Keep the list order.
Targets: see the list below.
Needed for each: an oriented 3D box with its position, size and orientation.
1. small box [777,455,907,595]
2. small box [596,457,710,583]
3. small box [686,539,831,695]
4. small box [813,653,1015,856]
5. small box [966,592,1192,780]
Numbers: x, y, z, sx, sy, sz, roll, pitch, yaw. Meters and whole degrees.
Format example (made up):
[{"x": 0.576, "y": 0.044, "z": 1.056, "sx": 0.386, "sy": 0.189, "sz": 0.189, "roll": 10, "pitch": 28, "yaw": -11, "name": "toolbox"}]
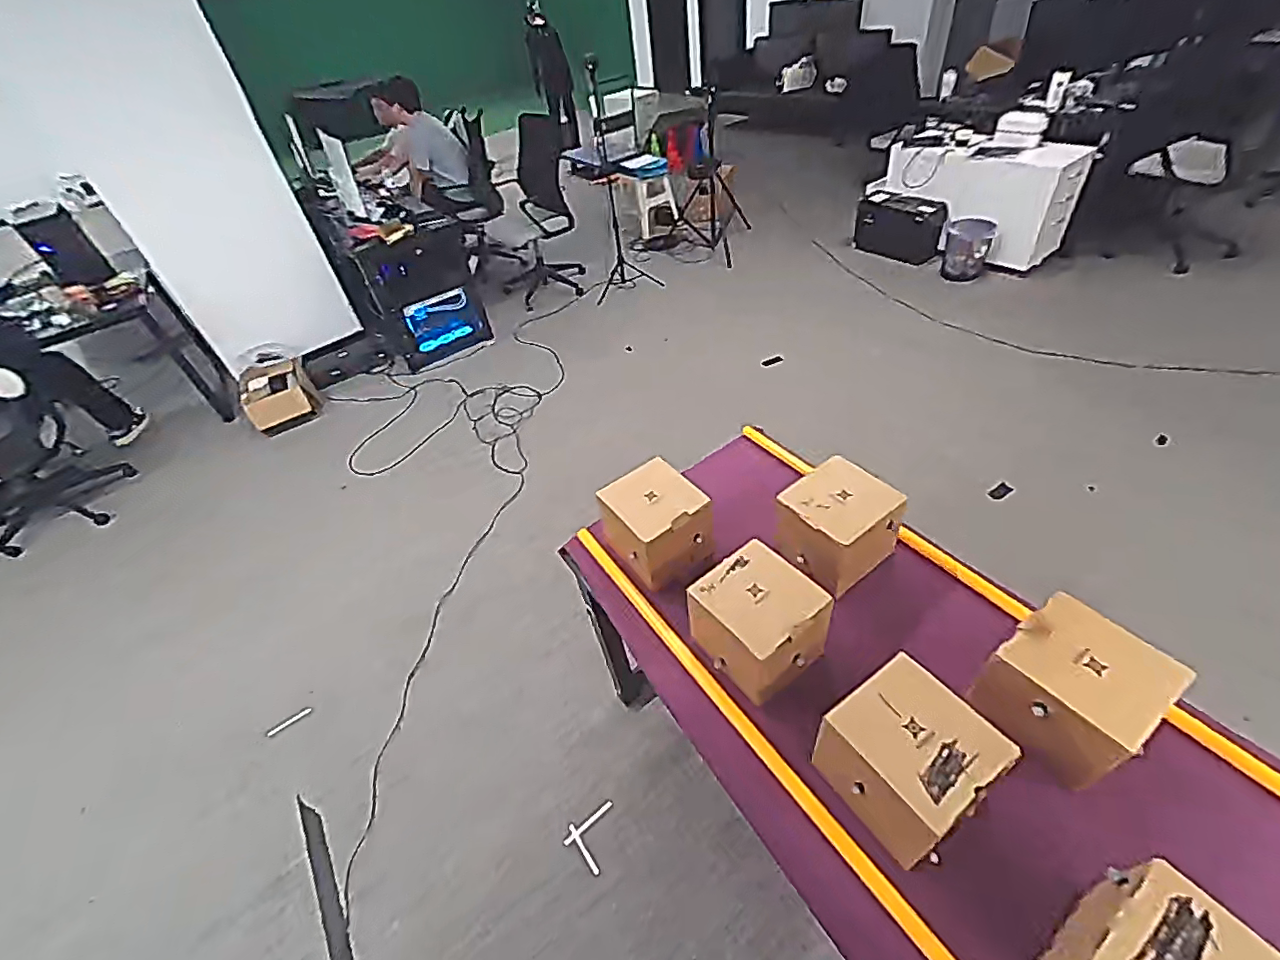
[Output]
[{"x": 0.385, "y": 0.088, "z": 1.065, "sx": 0.179, "sy": 0.176, "sz": 0.168, "roll": -32, "pitch": 47, "yaw": -18, "name": "small box"}, {"x": 0.032, "y": 0.089, "z": 1.127, "sx": 0.168, "sy": 0.176, "sz": 0.179, "roll": -31, "pitch": 50, "yaw": -21, "name": "small box"}, {"x": 0.201, "y": 0.244, "z": 0.940, "sx": 0.168, "sy": 0.176, "sz": 0.179, "roll": -32, "pitch": 49, "yaw": -21, "name": "small box"}, {"x": 0.368, "y": 0.388, "z": 0.759, "sx": 0.168, "sy": 0.176, "sz": 0.179, "roll": -28, "pitch": 45, "yaw": -20, "name": "small box"}, {"x": 0.627, "y": 0.307, "z": 0.796, "sx": 0.168, "sy": 0.176, "sz": 0.179, "roll": -31, "pitch": 47, "yaw": -19, "name": "small box"}]
